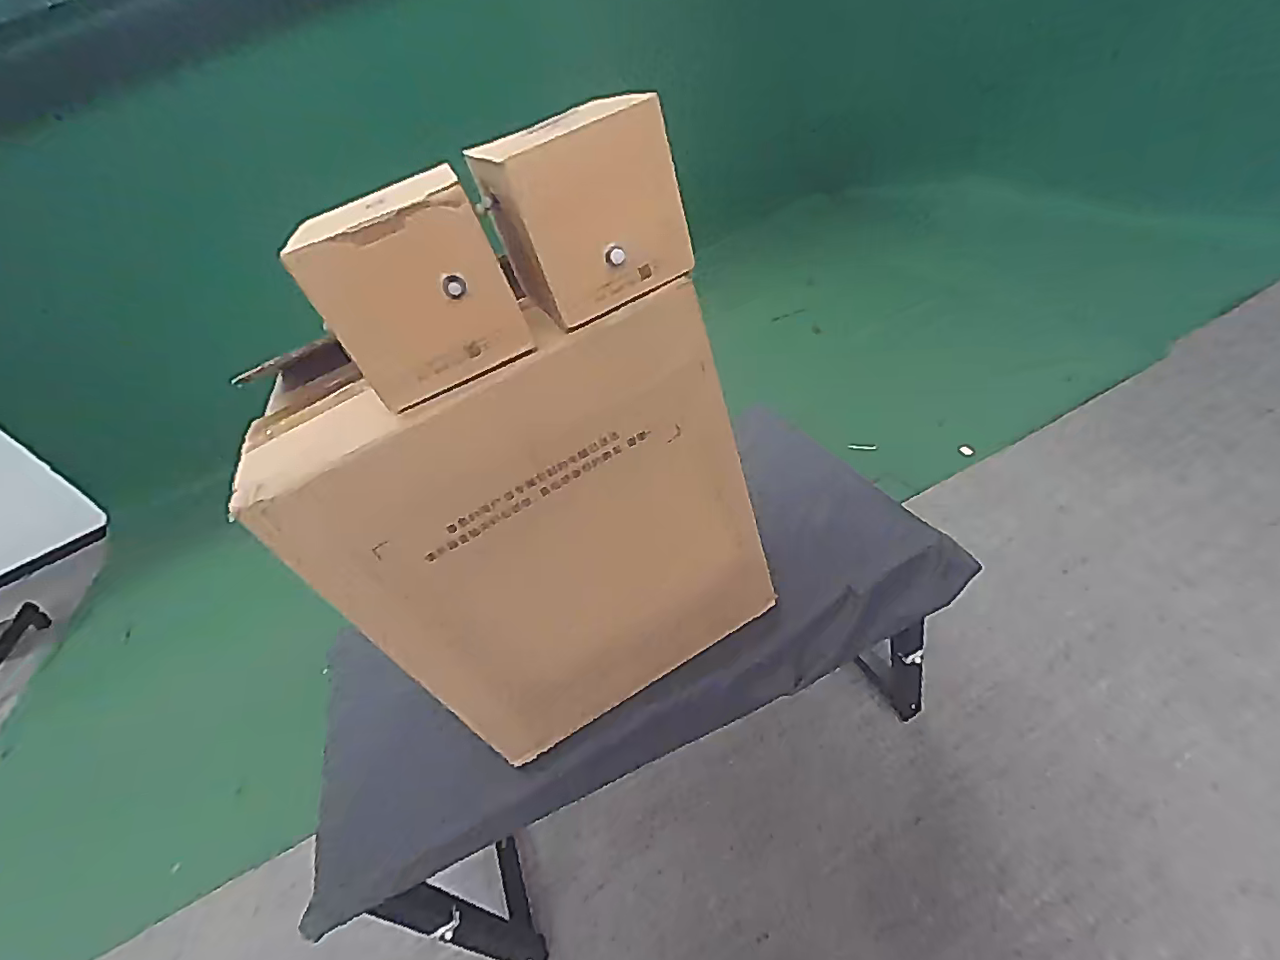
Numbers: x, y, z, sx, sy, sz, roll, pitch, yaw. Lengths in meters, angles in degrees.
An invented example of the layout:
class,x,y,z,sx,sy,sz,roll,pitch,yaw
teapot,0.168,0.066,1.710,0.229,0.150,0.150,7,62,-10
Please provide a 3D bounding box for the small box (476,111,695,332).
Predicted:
class,x,y,z,sx,sy,sz,roll,pitch,yaw
small box,-0.059,-0.288,0.607,0.168,0.176,0.179,-29,40,-10
